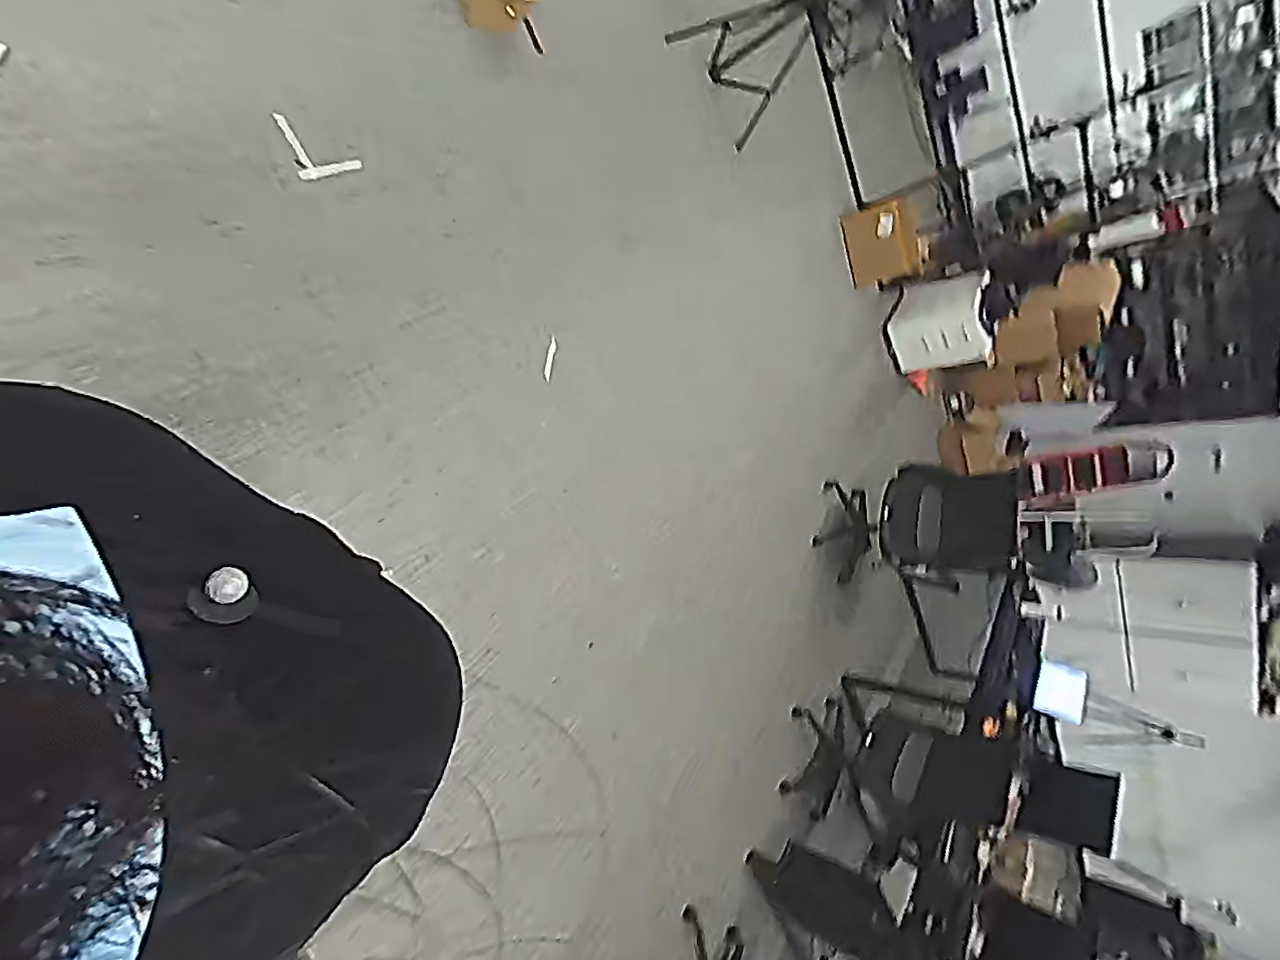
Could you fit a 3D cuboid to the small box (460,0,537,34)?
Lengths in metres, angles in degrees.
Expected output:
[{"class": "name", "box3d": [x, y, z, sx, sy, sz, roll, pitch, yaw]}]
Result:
[{"class": "small box", "box3d": [-0.466, -1.550, 1.705, 0.179, 0.176, 0.168, -37, 113, -40]}]
